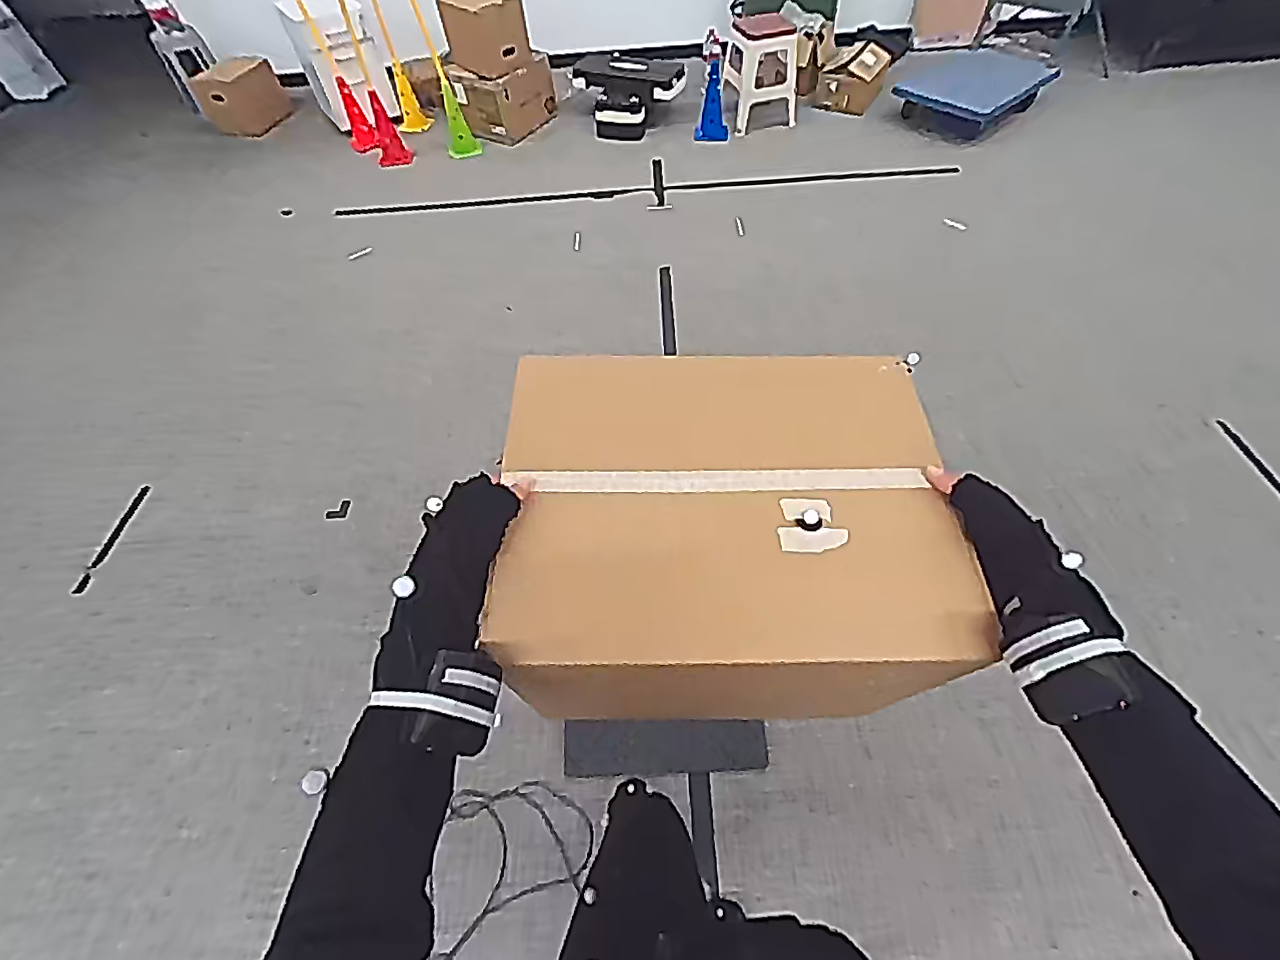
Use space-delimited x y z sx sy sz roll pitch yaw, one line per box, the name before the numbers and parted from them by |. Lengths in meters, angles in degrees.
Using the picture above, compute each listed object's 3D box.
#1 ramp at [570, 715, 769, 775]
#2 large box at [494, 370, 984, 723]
ramp | 0.048 0.251 1.520 0.509 0.206 0.991 -5 54 -1
large box | 0.074 0.091 0.632 0.408 0.320 0.320 0 59 -1
